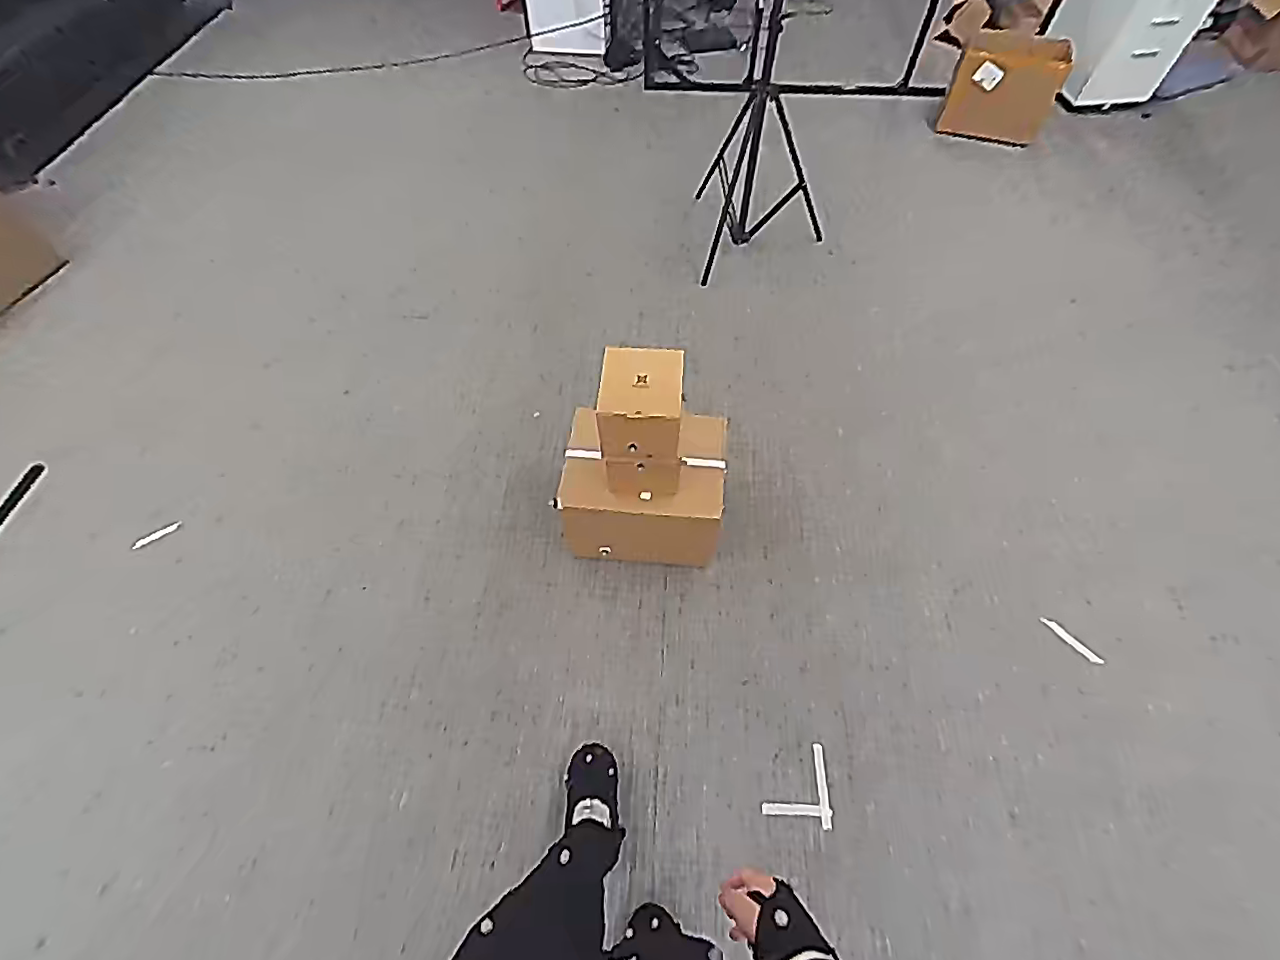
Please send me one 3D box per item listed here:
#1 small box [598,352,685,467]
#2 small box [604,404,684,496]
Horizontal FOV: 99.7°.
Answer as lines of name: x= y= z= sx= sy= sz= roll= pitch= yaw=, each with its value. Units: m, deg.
small box: x=0.005 y=-0.149 z=1.153 sx=0.168 sy=0.176 sz=0.179 roll=3 pitch=60 yaw=3
small box: x=0.013 y=-0.073 z=1.296 sx=0.179 sy=0.176 sz=0.168 roll=2 pitch=60 yaw=2
